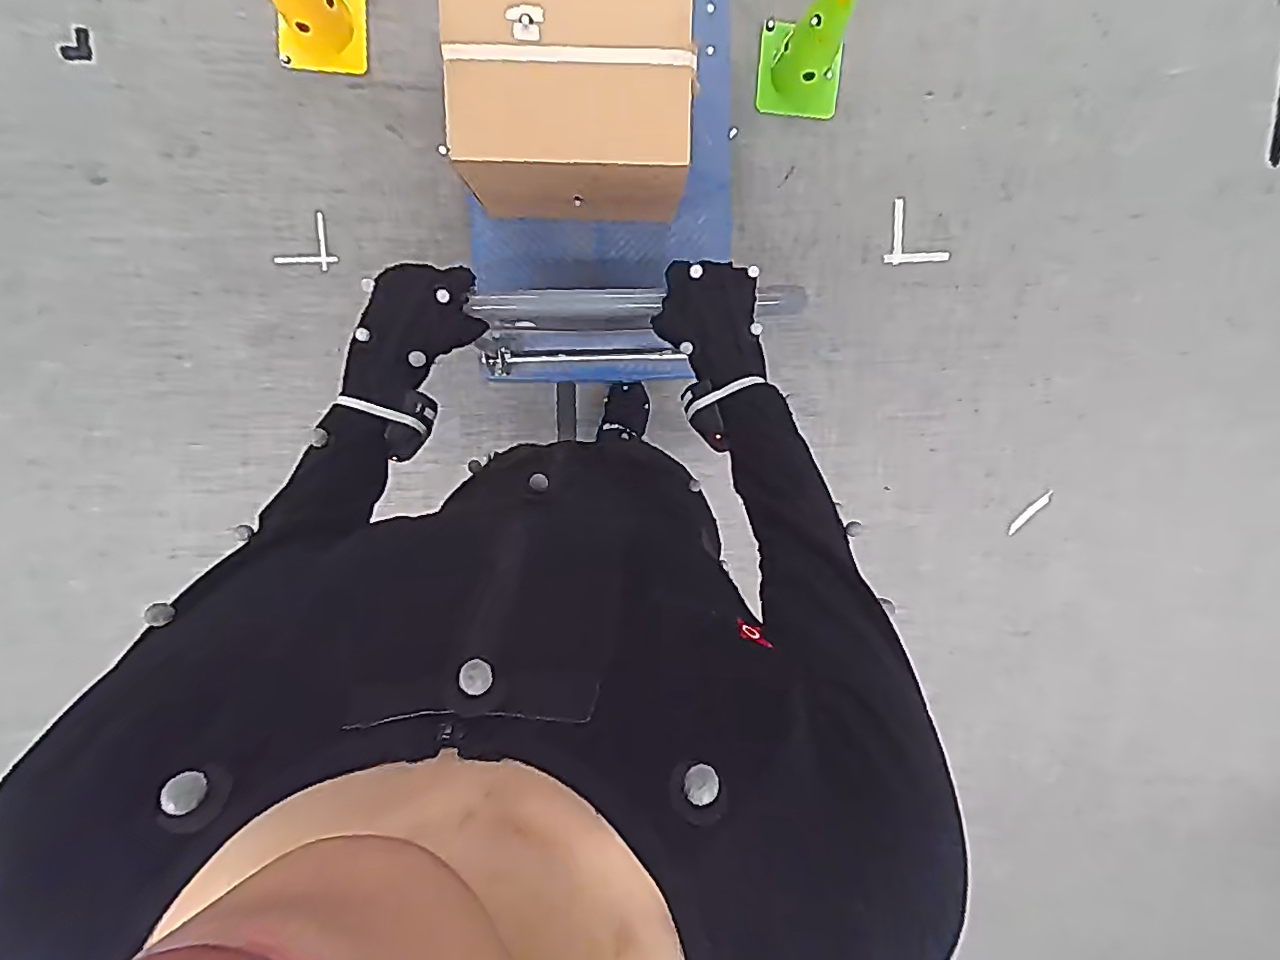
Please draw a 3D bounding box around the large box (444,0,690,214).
[{"bbox_3d":[-0.117,-0.712,1.028,0.408,0.320,0.320,0,100,-1],"label":"large box"}]

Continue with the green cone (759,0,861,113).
[{"bbox_3d":[0.403,-0.982,1.148,0.202,0.368,0.200,3,99,-4],"label":"green cone"}]
